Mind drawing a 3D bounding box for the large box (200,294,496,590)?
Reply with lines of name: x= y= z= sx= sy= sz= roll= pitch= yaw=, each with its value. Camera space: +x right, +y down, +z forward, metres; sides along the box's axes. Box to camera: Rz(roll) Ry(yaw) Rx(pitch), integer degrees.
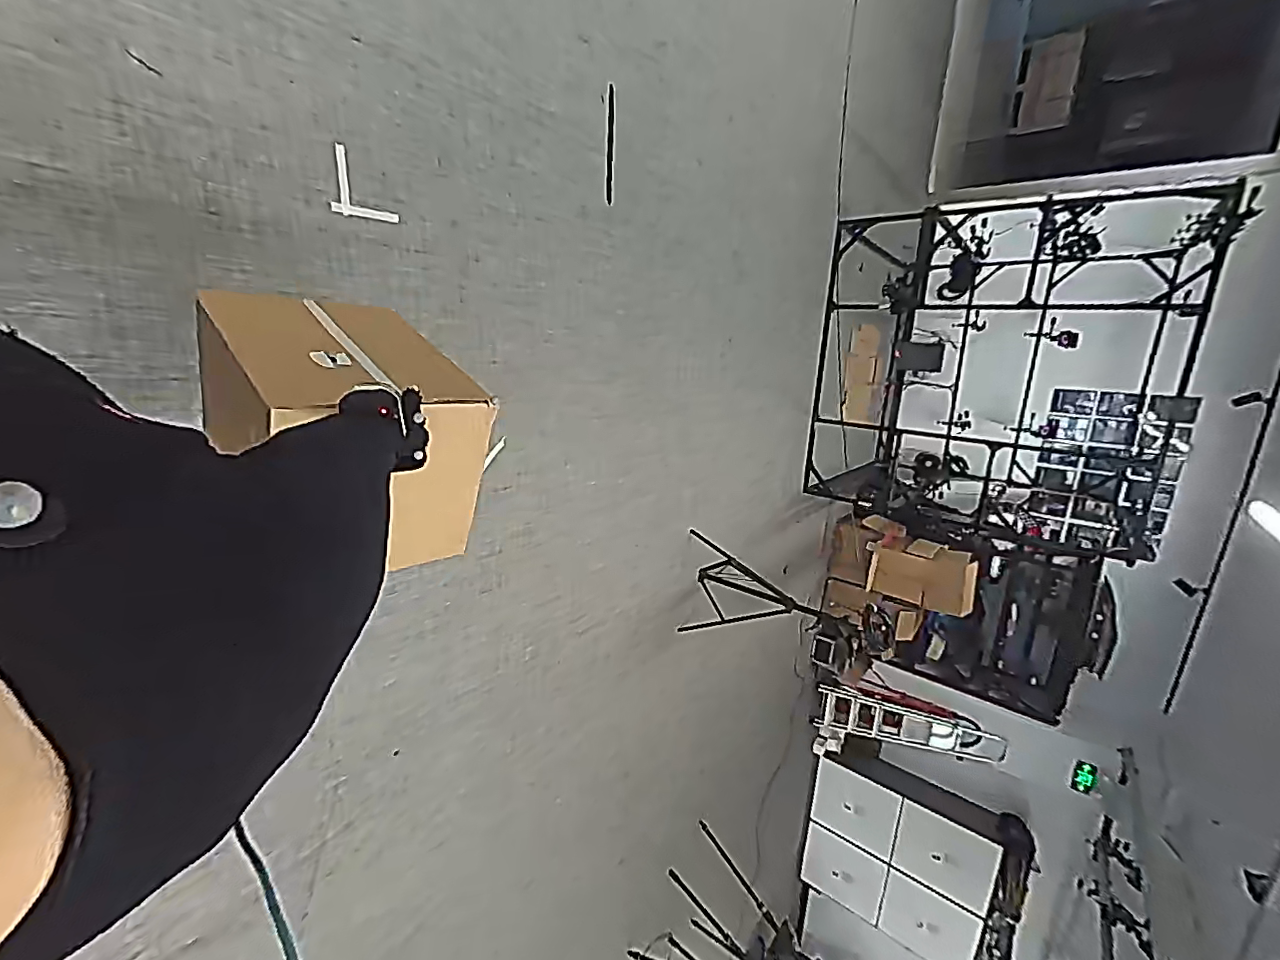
large box: x=-0.518 y=-0.083 z=0.936 sx=0.320 sy=0.408 sz=0.320 roll=-11 pitch=132 yaw=-46
